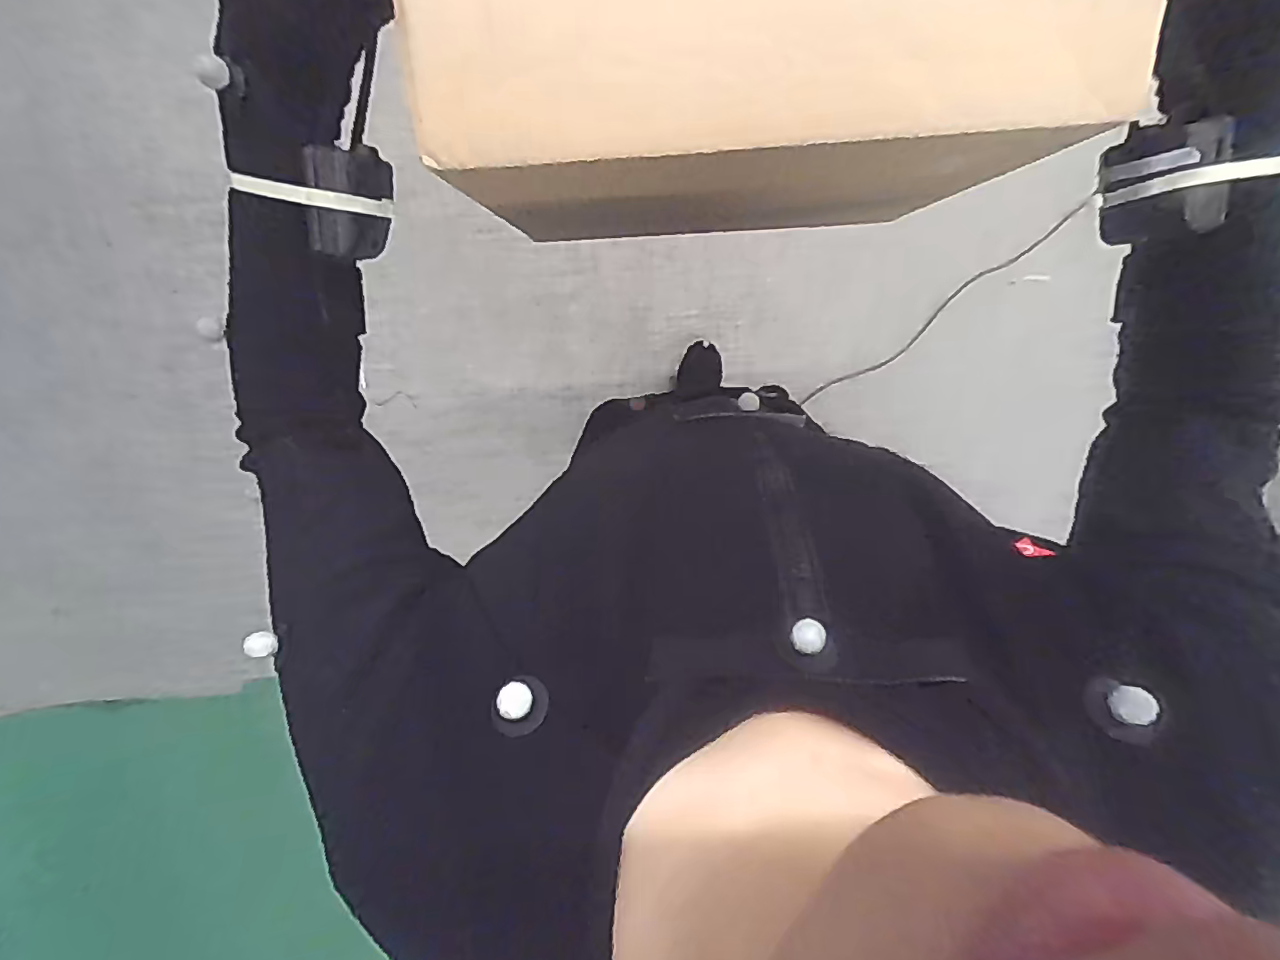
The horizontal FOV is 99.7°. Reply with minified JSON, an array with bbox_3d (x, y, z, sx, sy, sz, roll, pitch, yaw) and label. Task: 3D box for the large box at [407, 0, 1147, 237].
[{"bbox_3d":[0.064,-0.387,0.407,0.408,0.320,0.320,-4,107,1],"label":"large box"}]
